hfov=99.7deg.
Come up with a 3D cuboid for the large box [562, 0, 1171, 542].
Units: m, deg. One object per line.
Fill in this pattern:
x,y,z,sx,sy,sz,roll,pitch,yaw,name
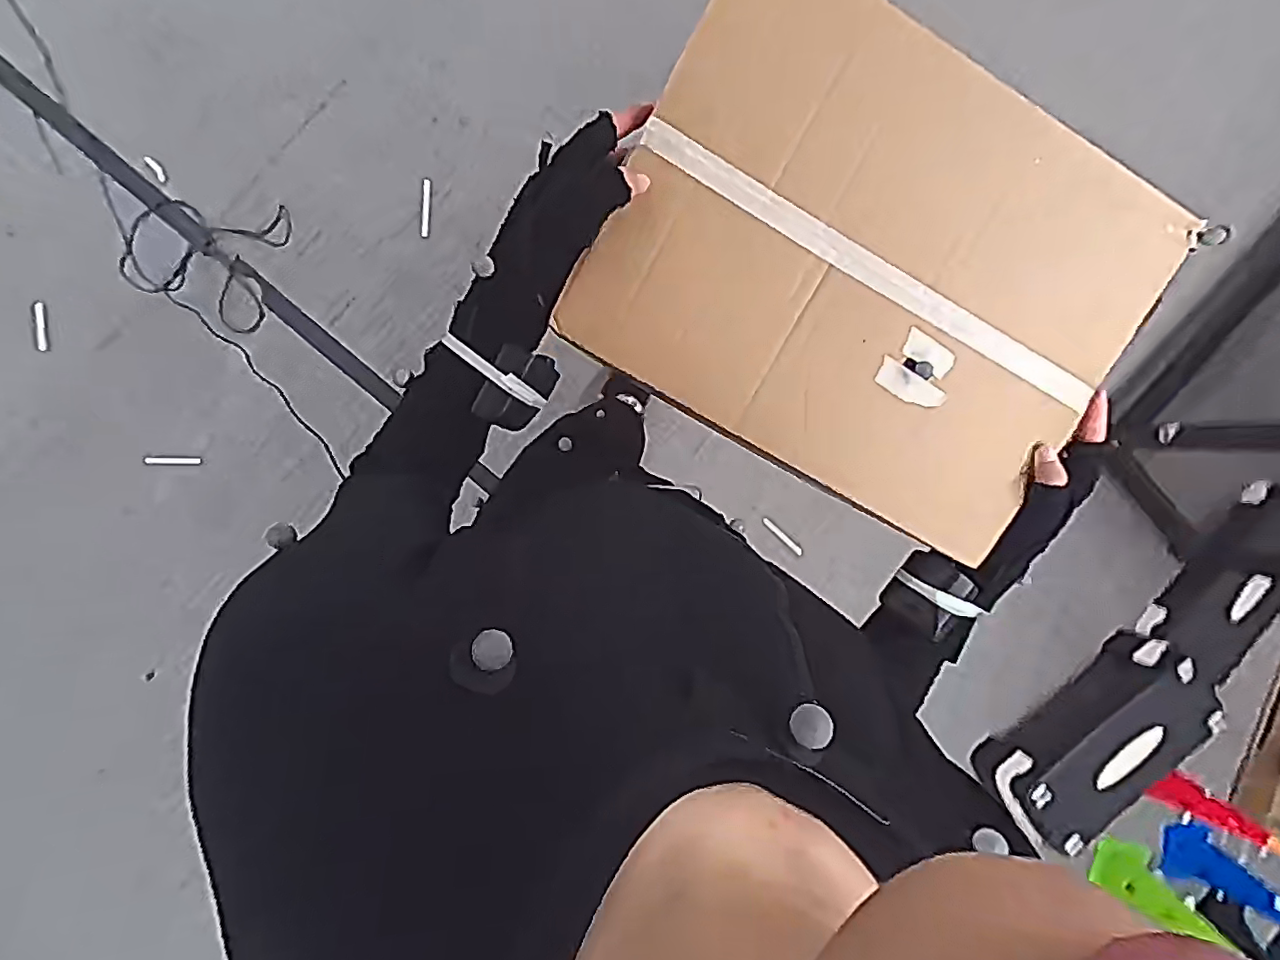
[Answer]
0.172,-0.192,0.573,0.408,0.320,0.320,29,99,-7,large box
